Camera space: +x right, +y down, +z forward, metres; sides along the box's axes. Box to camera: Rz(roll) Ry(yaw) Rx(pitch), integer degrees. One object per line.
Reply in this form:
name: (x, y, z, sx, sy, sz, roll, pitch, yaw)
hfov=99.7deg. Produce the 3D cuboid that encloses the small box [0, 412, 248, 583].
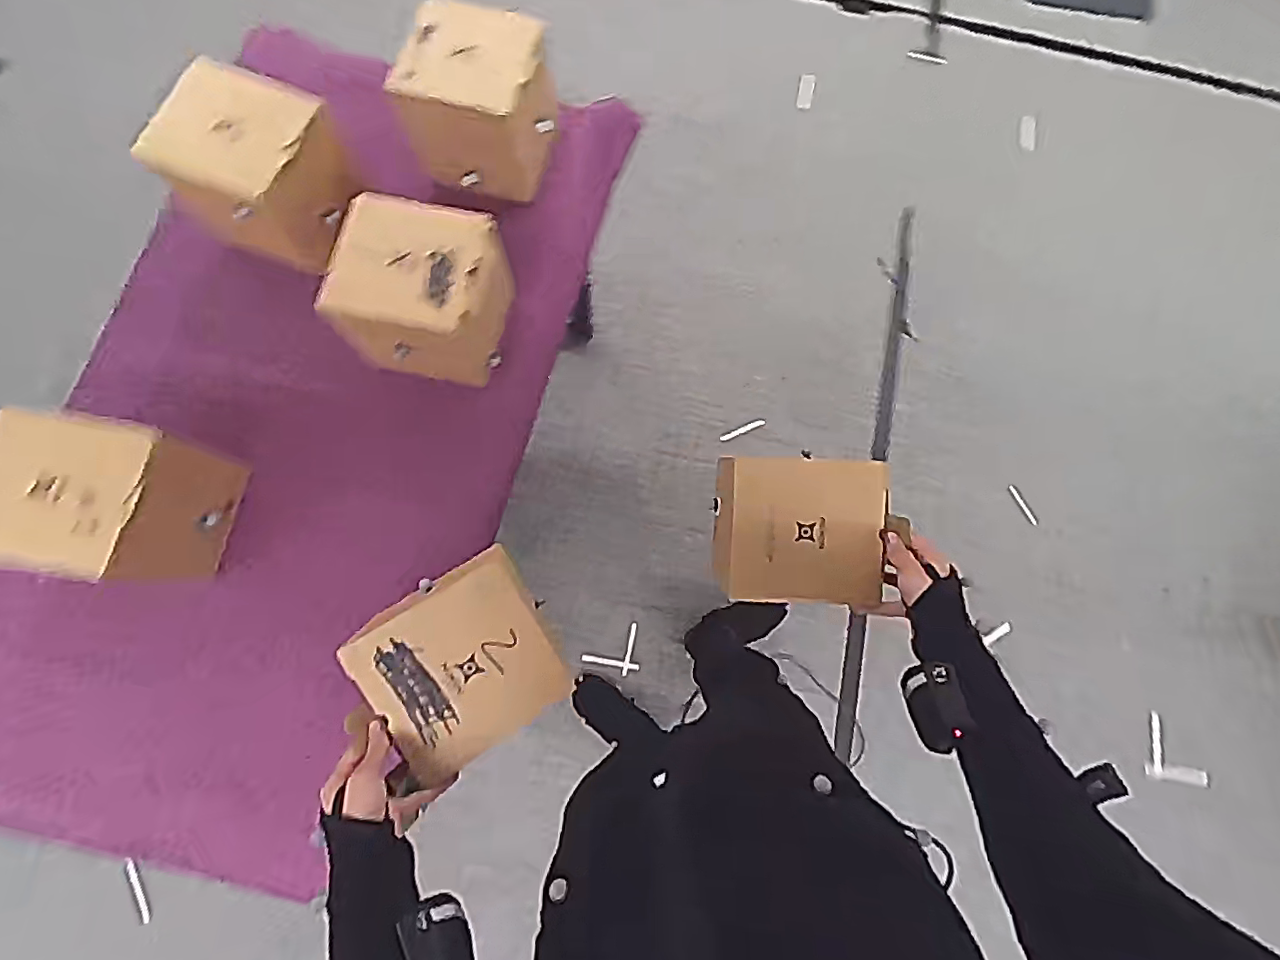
small box: (-0.643, 0.032, 0.666, 0.179, 0.176, 0.168, 9, 76, -2)

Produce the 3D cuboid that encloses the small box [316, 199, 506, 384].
small box: (-0.299, -0.249, 0.752, 0.179, 0.176, 0.168, 11, 76, 0)

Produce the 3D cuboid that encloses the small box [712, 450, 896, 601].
small box: (0.194, 0.048, 0.686, 0.179, 0.176, 0.168, 3, 92, 0)

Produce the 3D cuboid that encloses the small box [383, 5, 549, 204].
small box: (-0.249, -0.559, 0.826, 0.179, 0.176, 0.168, 14, 77, 2)

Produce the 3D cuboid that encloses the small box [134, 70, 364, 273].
small box: (-0.544, -0.432, 0.783, 0.179, 0.176, 0.168, 19, 77, -1)
